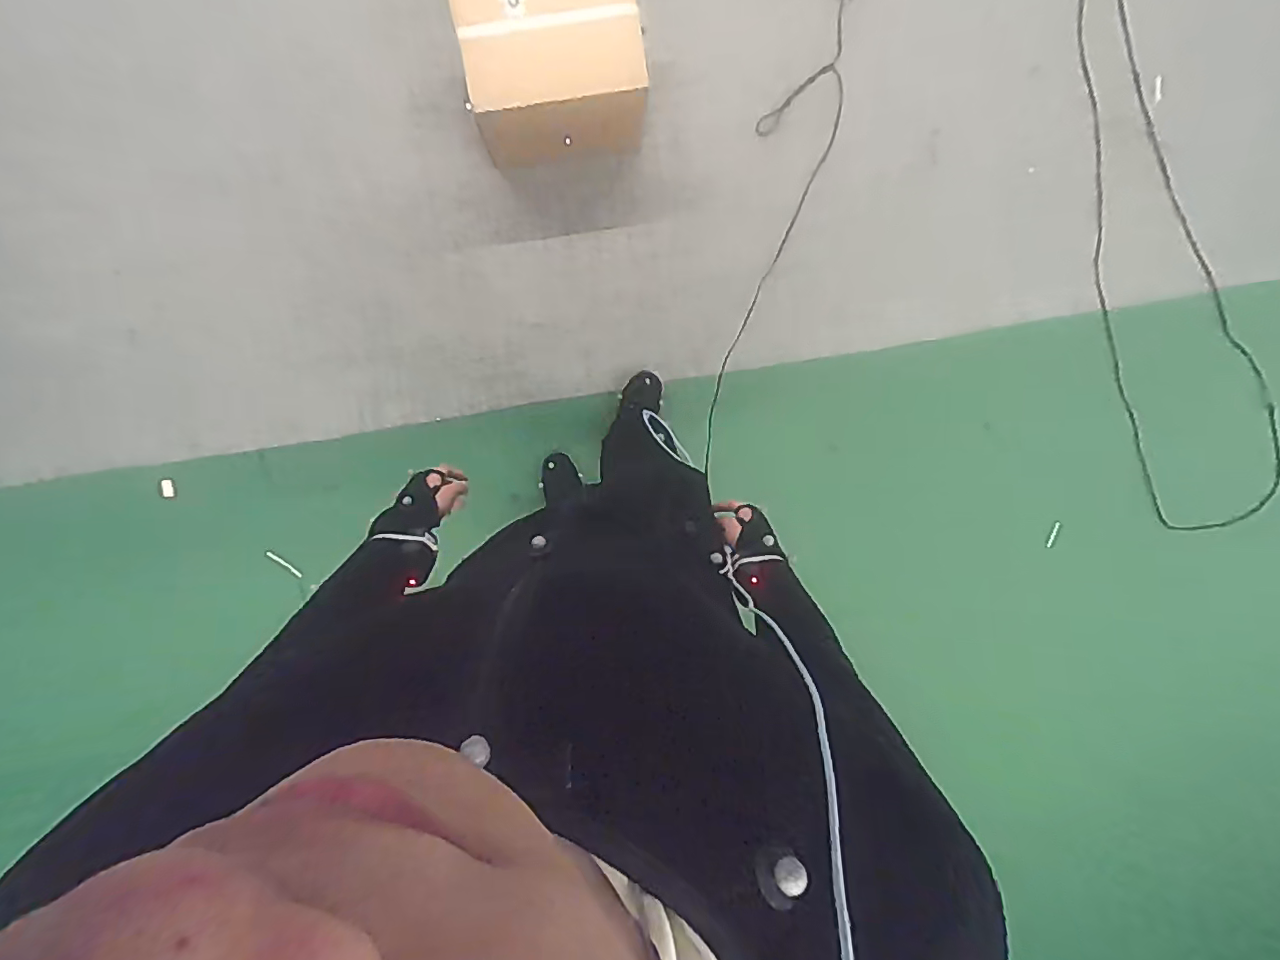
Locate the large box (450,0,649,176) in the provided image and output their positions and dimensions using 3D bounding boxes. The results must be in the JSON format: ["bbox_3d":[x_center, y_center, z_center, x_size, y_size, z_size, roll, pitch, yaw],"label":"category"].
[{"bbox_3d":[-0.209,-1.013,1.351,0.408,0.320,0.320,-11,97,-2],"label":"large box"}]
